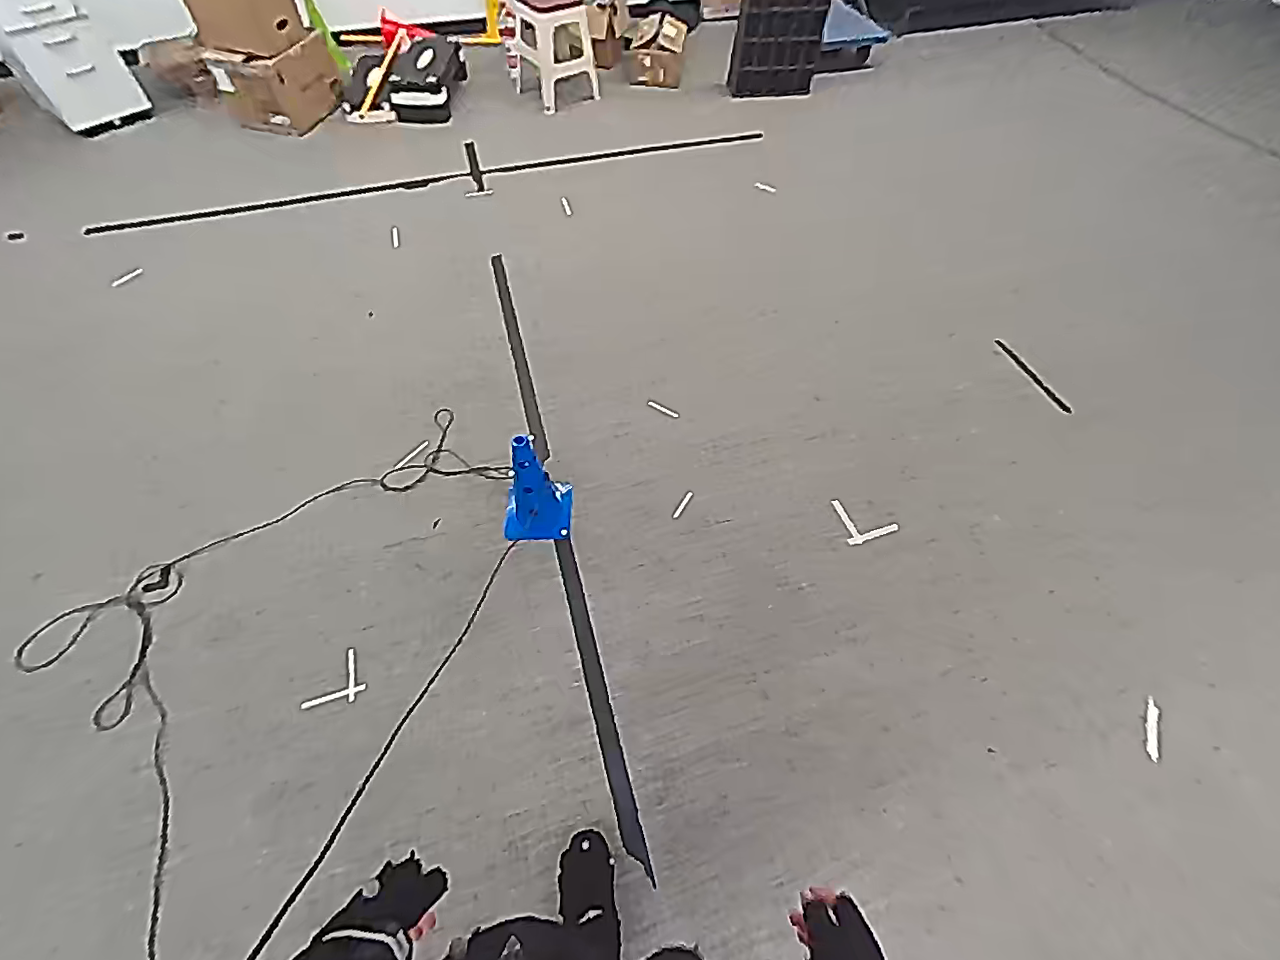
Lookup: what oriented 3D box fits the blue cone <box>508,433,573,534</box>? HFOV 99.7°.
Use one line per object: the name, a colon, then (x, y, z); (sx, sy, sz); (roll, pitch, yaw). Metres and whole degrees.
blue cone: (-0.300, -0.006, 1.537); (0.192, 0.380, 0.193); (1, 57, -2)
